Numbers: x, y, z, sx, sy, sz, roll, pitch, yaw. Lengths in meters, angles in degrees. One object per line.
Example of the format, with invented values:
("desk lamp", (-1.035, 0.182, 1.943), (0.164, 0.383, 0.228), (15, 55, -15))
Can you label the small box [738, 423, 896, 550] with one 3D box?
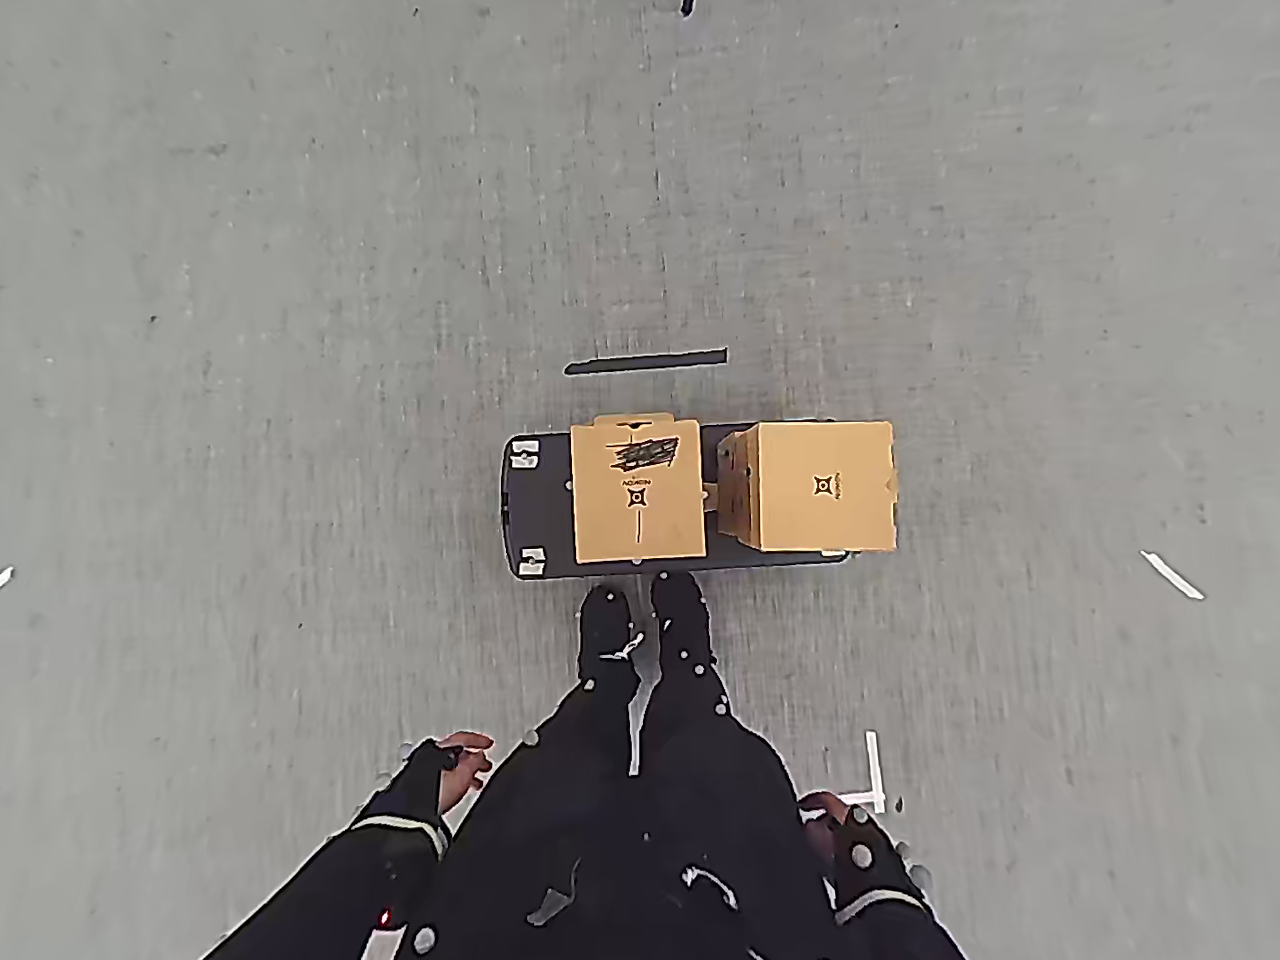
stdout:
("small box", (0.237, 0.013, 0.767), (0.179, 0.176, 0.168), (-1, 87, -1))

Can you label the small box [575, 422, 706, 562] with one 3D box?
("small box", (-0.001, 0.020, 0.764), (0.168, 0.176, 0.179), (-3, 87, 0))

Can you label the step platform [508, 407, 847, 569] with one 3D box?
("step platform", (0.082, 0.018, 1.103), (0.684, 0.204, 0.286), (-4, 87, 0))
